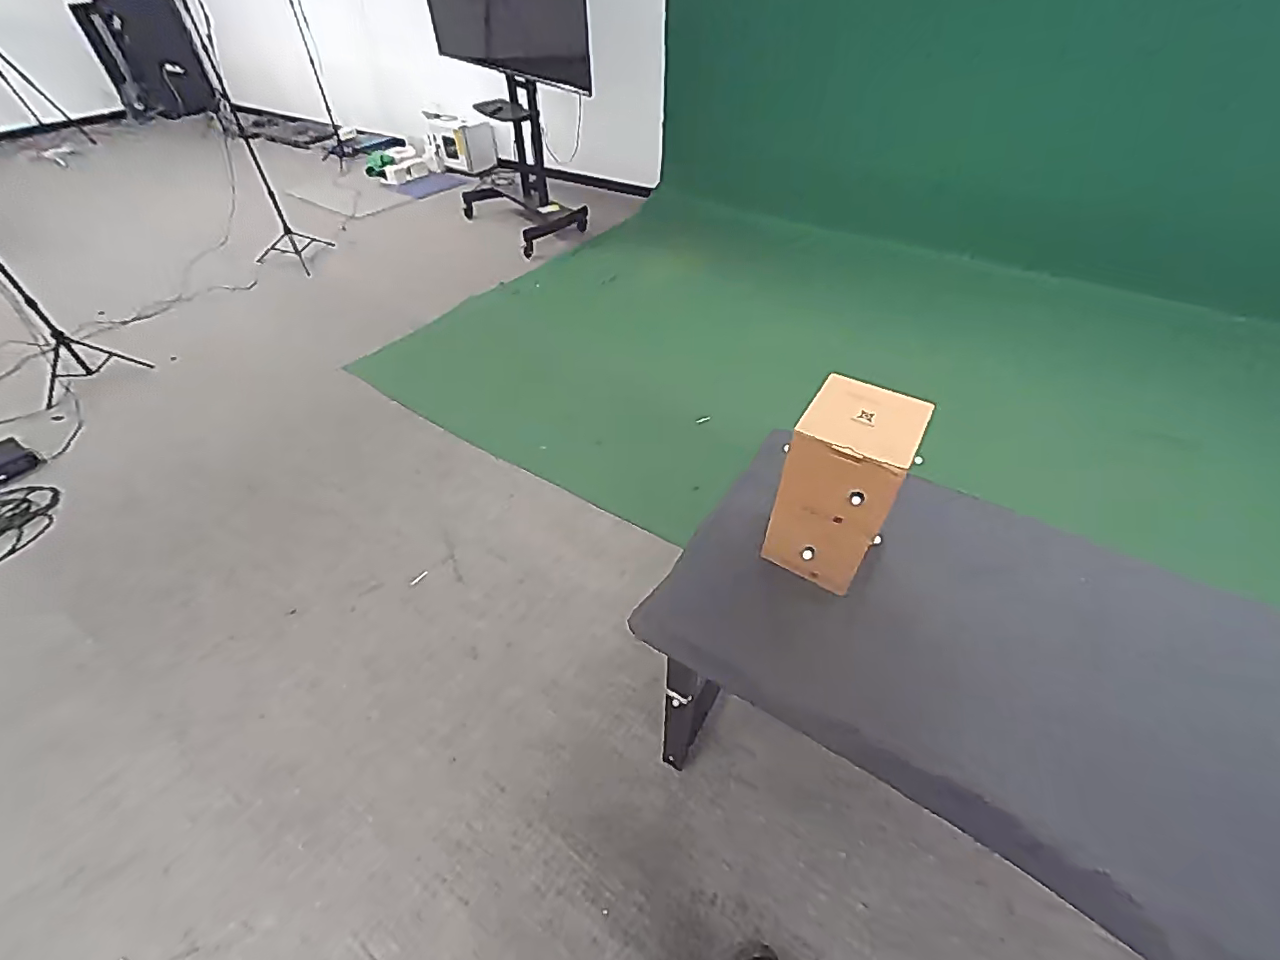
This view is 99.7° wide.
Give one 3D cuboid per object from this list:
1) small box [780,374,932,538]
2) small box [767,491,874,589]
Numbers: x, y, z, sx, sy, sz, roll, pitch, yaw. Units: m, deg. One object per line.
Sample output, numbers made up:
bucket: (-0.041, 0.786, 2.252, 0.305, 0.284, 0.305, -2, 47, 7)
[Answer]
small box: (0.339, -0.038, 0.873, 0.168, 0.176, 0.179, 24, 49, 21)
small box: (0.347, 0.068, 0.997, 0.168, 0.176, 0.179, 26, 51, 23)
